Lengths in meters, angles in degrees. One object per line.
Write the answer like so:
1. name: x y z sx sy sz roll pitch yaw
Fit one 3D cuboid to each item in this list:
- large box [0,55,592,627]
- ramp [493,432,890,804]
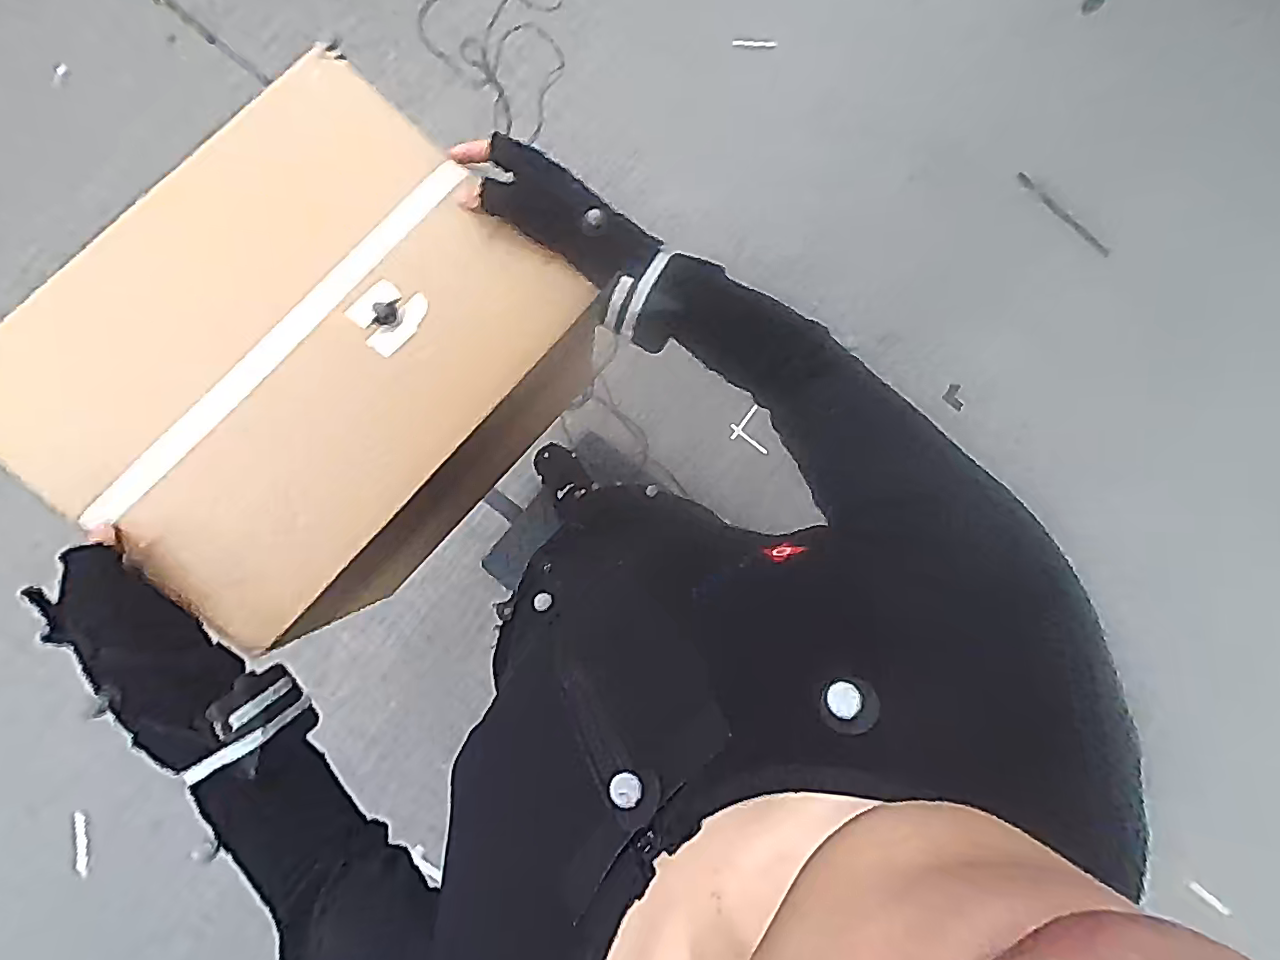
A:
1. large box: -0.298 -0.113 0.598 0.320 0.320 0.408 41 82 -3
2. ramp: 0.117 0.339 1.463 0.991 0.206 0.509 36 85 -1
